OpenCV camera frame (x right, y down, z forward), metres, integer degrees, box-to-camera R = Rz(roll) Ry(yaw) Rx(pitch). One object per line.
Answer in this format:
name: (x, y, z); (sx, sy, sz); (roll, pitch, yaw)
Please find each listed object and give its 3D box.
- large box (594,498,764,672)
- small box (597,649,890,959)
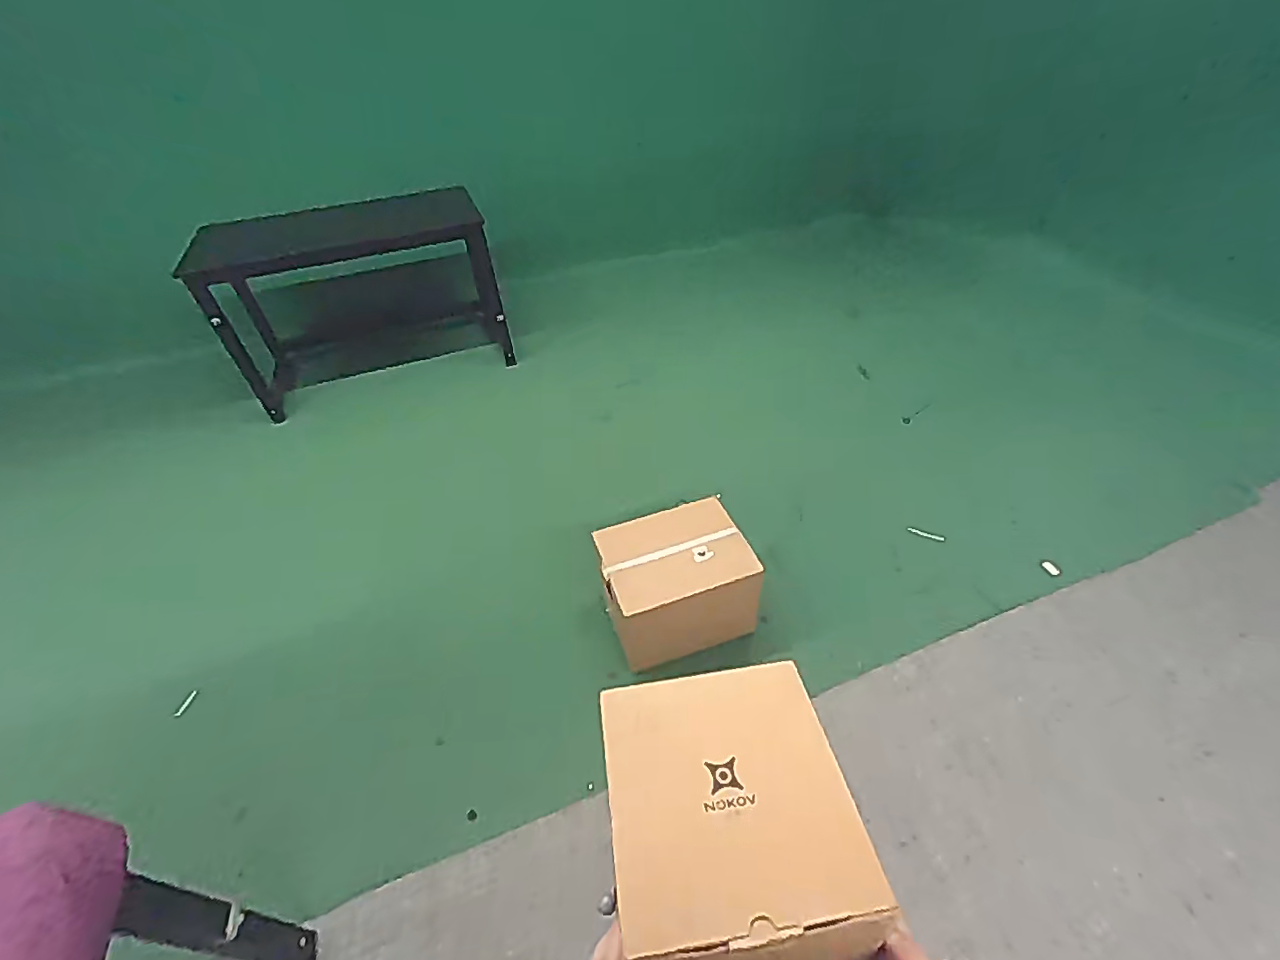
large box: (0.107, 0.311, 1.613); (0.408, 0.320, 0.320); (-15, 44, -12)
small box: (0.060, 0.265, 0.422); (0.168, 0.176, 0.179); (-8, 36, -4)
